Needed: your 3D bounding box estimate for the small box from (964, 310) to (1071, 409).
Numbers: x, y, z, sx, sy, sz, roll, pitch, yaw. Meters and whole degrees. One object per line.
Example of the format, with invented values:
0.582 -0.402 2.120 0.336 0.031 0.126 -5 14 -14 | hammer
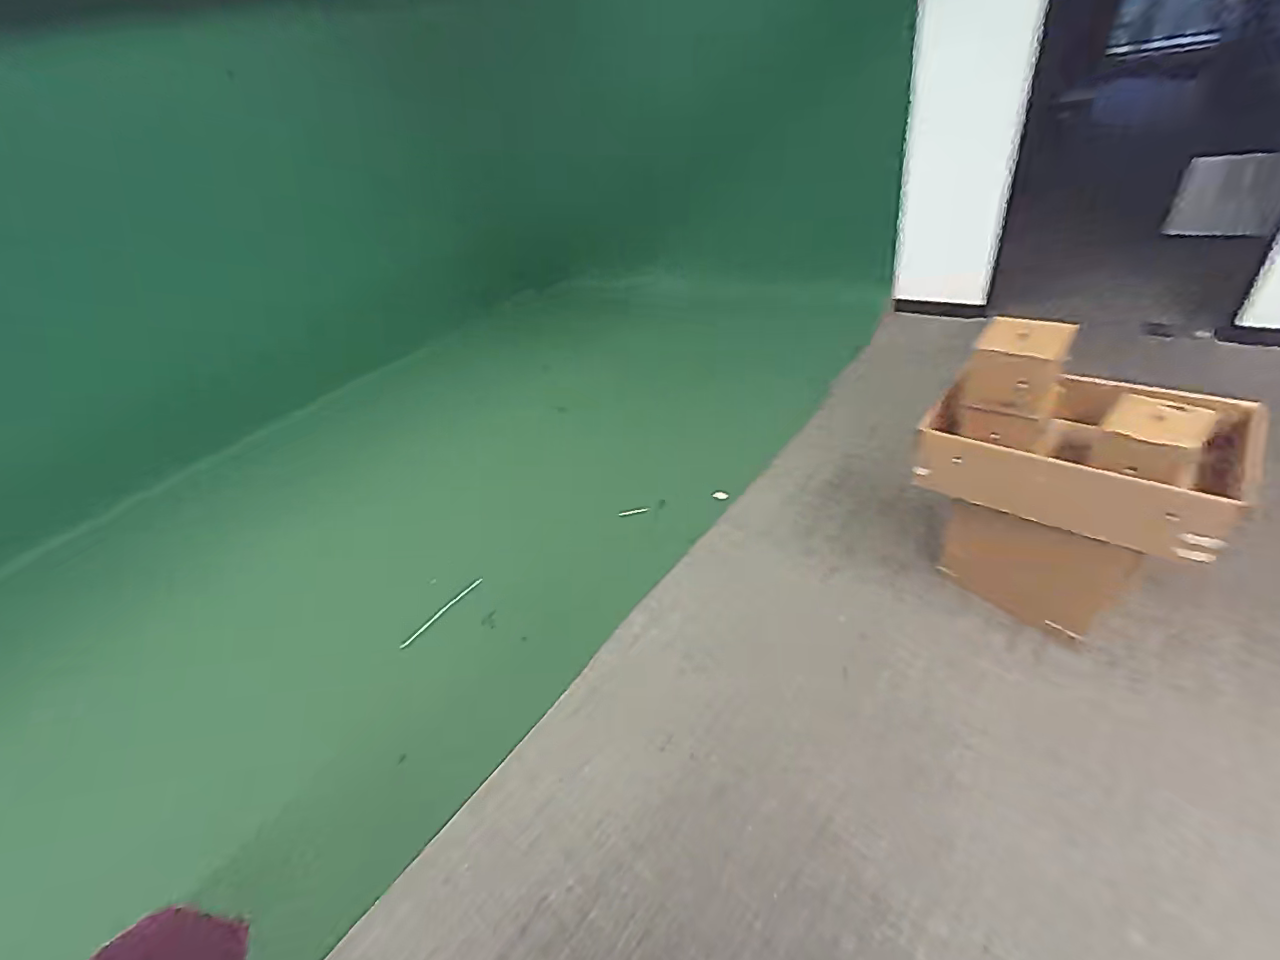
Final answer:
0.923 -0.297 1.333 0.168 0.176 0.179 23 52 38 | small box
